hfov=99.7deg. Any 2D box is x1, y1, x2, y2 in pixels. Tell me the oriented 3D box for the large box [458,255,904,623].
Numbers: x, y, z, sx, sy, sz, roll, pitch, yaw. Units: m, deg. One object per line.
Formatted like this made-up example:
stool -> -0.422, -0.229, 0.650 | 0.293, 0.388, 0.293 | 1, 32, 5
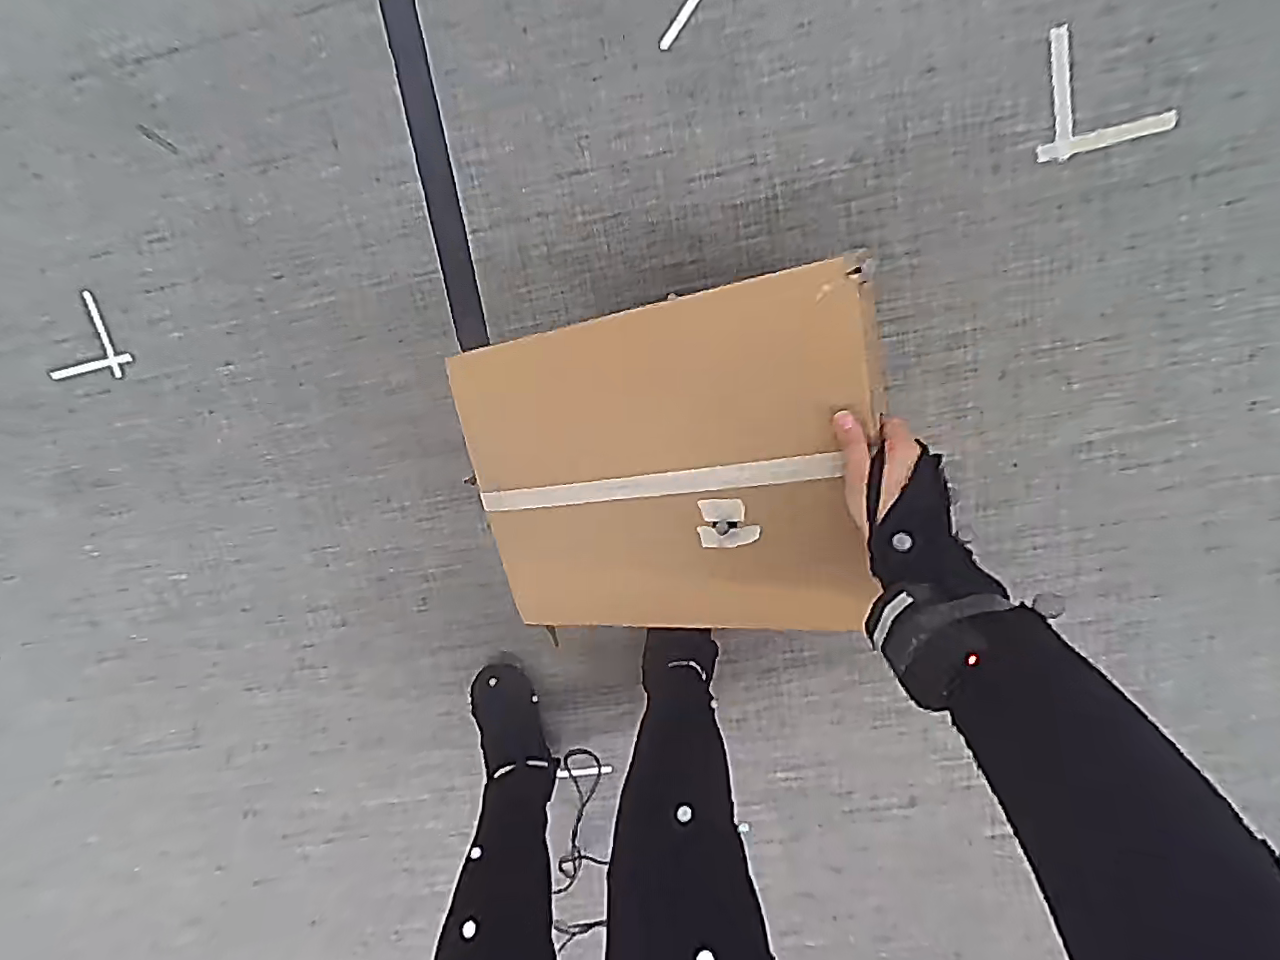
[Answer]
large box -> 0.072, -0.045, 0.648 | 0.408, 0.320, 0.320 | -7, 106, 25
